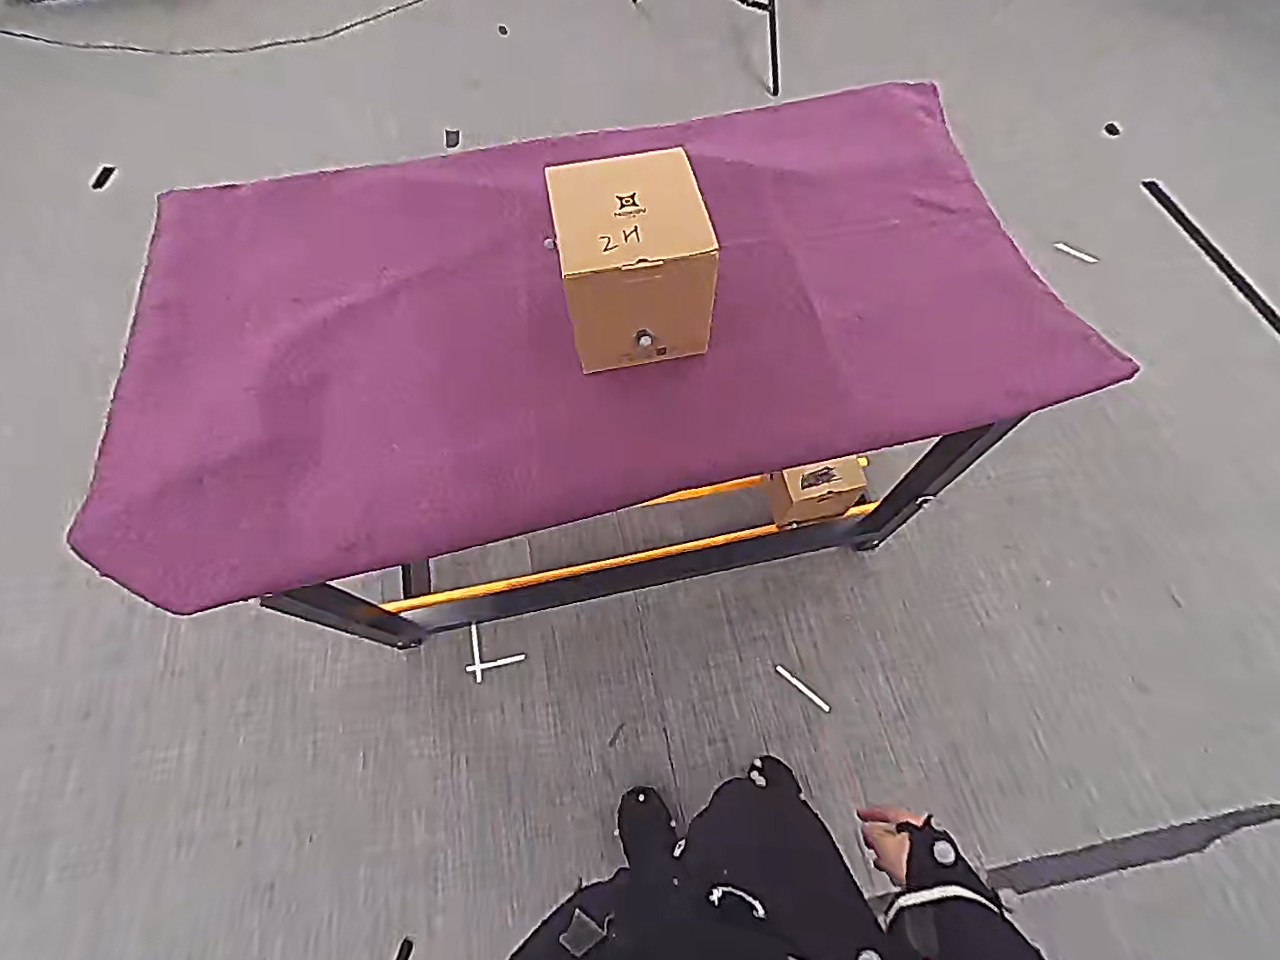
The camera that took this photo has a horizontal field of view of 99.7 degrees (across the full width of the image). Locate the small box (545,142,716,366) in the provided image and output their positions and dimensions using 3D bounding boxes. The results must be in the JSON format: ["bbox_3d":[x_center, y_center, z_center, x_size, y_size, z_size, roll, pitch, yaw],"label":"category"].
[{"bbox_3d":[-0.014,-0.267,0.658,0.168,0.176,0.179,-11,65,-3],"label":"small box"}]

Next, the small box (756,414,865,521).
[{"bbox_3d":[0.371,-0.018,1.208,0.168,0.176,0.179,-11,65,-3],"label":"small box"}]
